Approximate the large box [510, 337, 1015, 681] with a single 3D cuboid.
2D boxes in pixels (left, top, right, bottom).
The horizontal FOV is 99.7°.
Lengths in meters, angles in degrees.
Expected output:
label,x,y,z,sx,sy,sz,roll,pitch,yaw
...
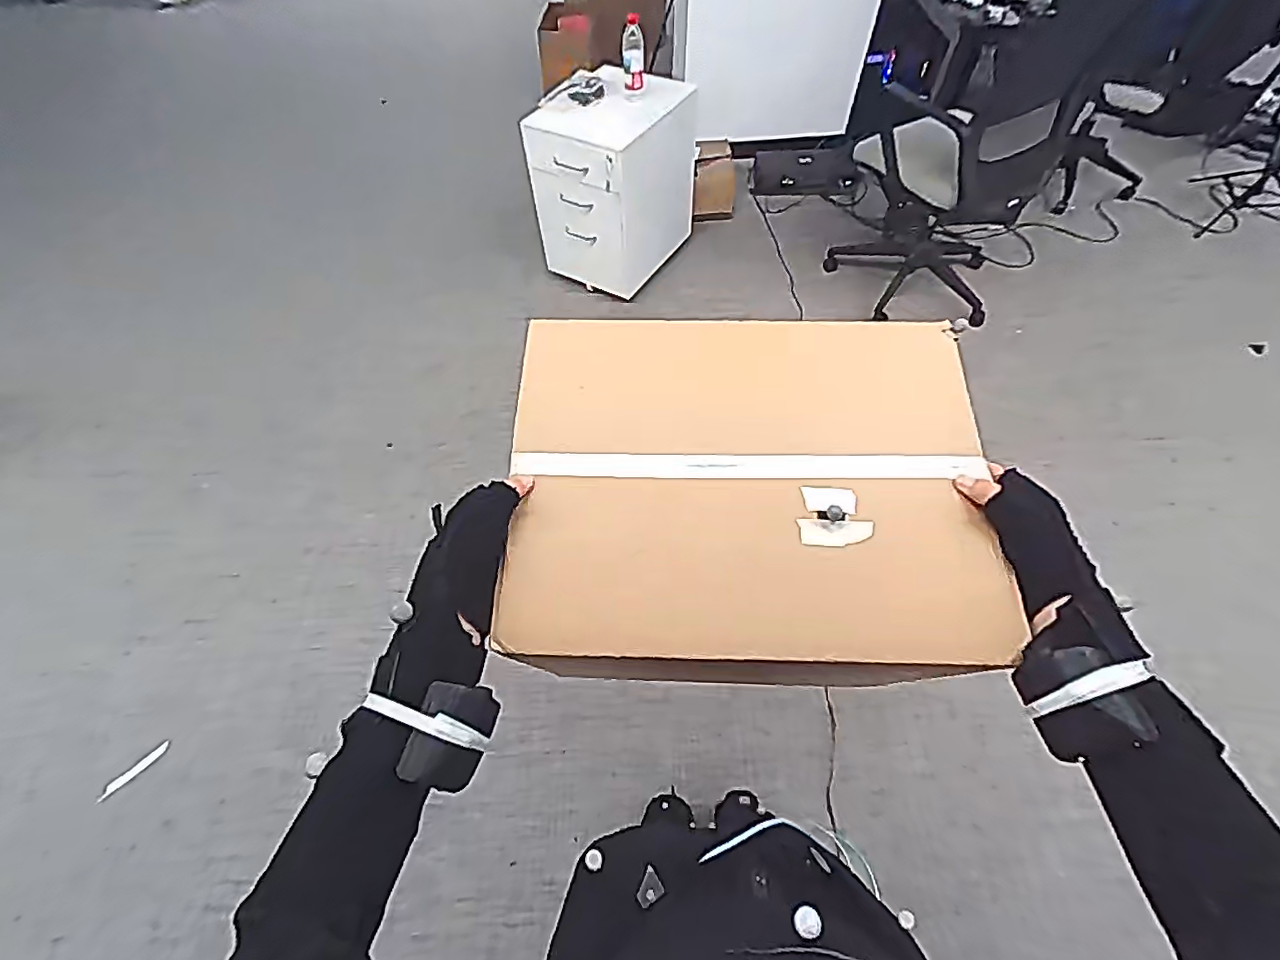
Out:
label,x,y,z,sx,sy,sz,roll,pitch,yaw
large box,0.097,0.057,0.615,0.408,0.320,0.320,1,68,2
